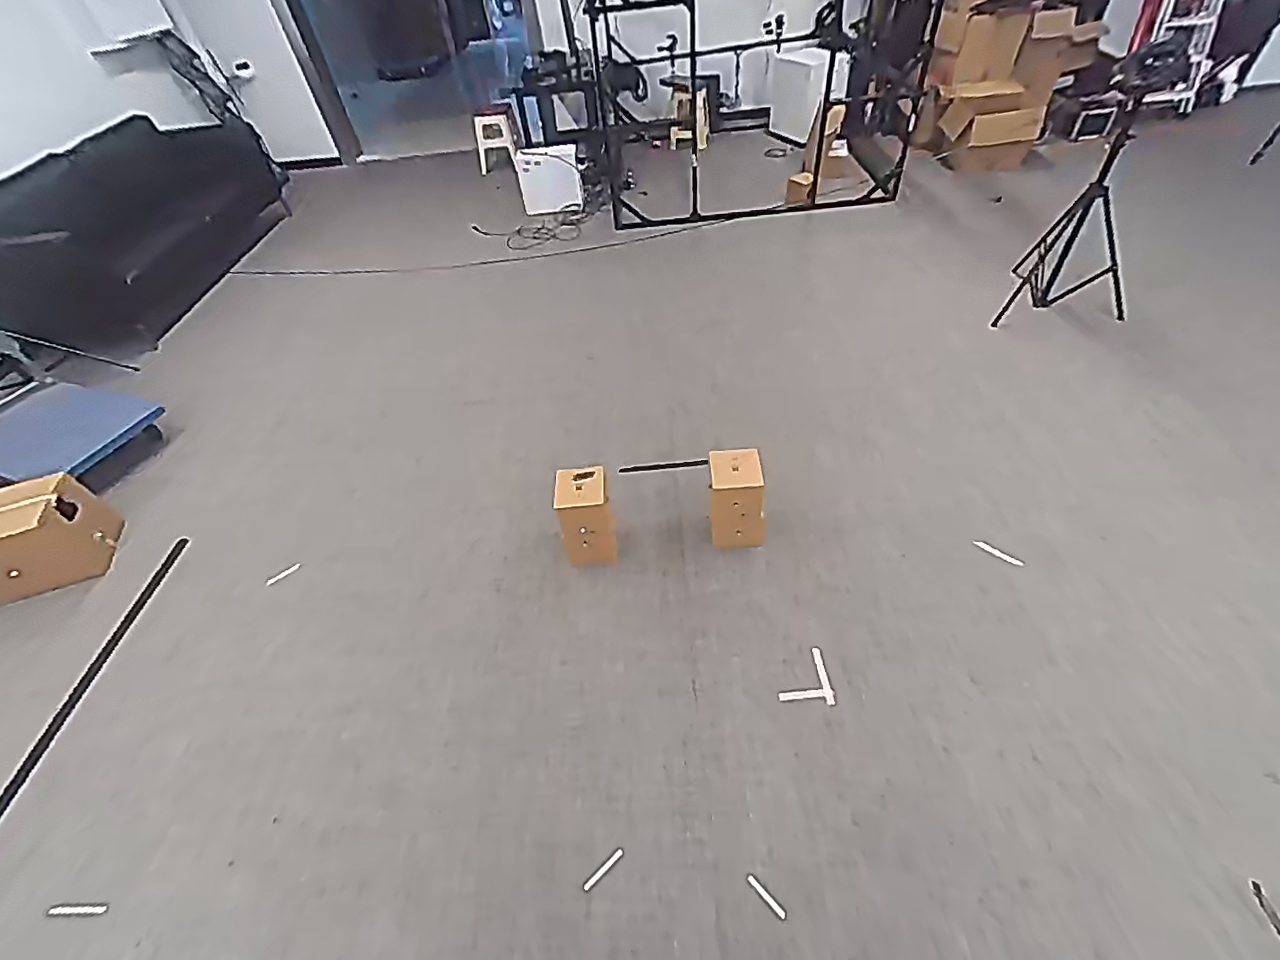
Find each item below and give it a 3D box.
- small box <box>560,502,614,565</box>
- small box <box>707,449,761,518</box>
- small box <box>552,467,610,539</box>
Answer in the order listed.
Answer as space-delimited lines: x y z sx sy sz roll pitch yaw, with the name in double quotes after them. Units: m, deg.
-0.187 0.193 1.978 0.179 0.176 0.168 -6 47 3 "small box"
0.317 0.018 1.849 0.168 0.176 0.179 -3 47 4 "small box"
-0.198 0.080 1.859 0.168 0.176 0.179 -6 48 3 "small box"
